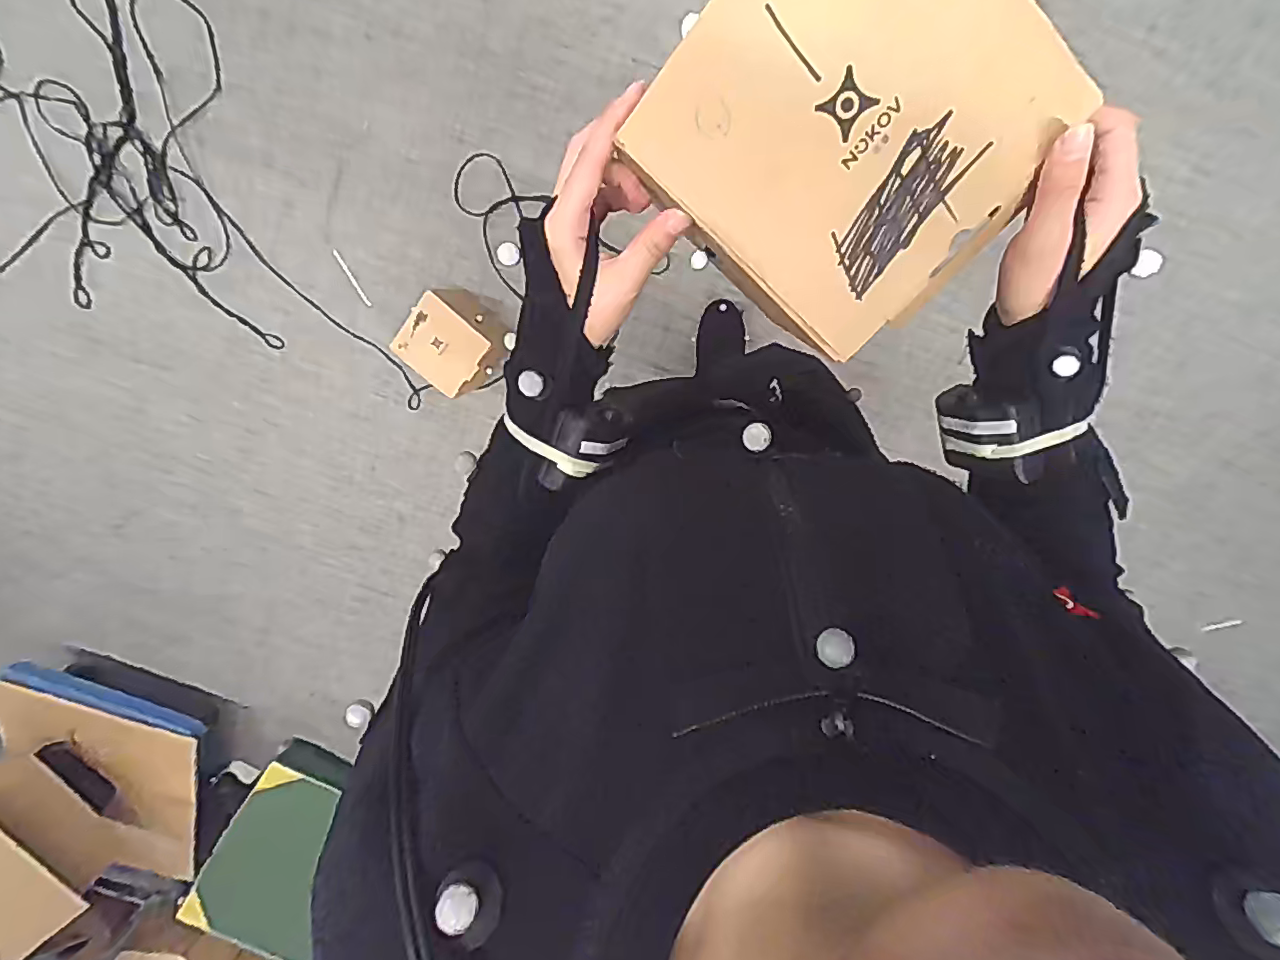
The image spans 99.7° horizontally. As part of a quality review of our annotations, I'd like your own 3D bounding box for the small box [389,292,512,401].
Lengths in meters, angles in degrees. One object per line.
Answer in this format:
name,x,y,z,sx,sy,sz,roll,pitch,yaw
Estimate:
small box,-0.423,-0.313,1.239,0.179,0.176,0.168,41,108,-9
